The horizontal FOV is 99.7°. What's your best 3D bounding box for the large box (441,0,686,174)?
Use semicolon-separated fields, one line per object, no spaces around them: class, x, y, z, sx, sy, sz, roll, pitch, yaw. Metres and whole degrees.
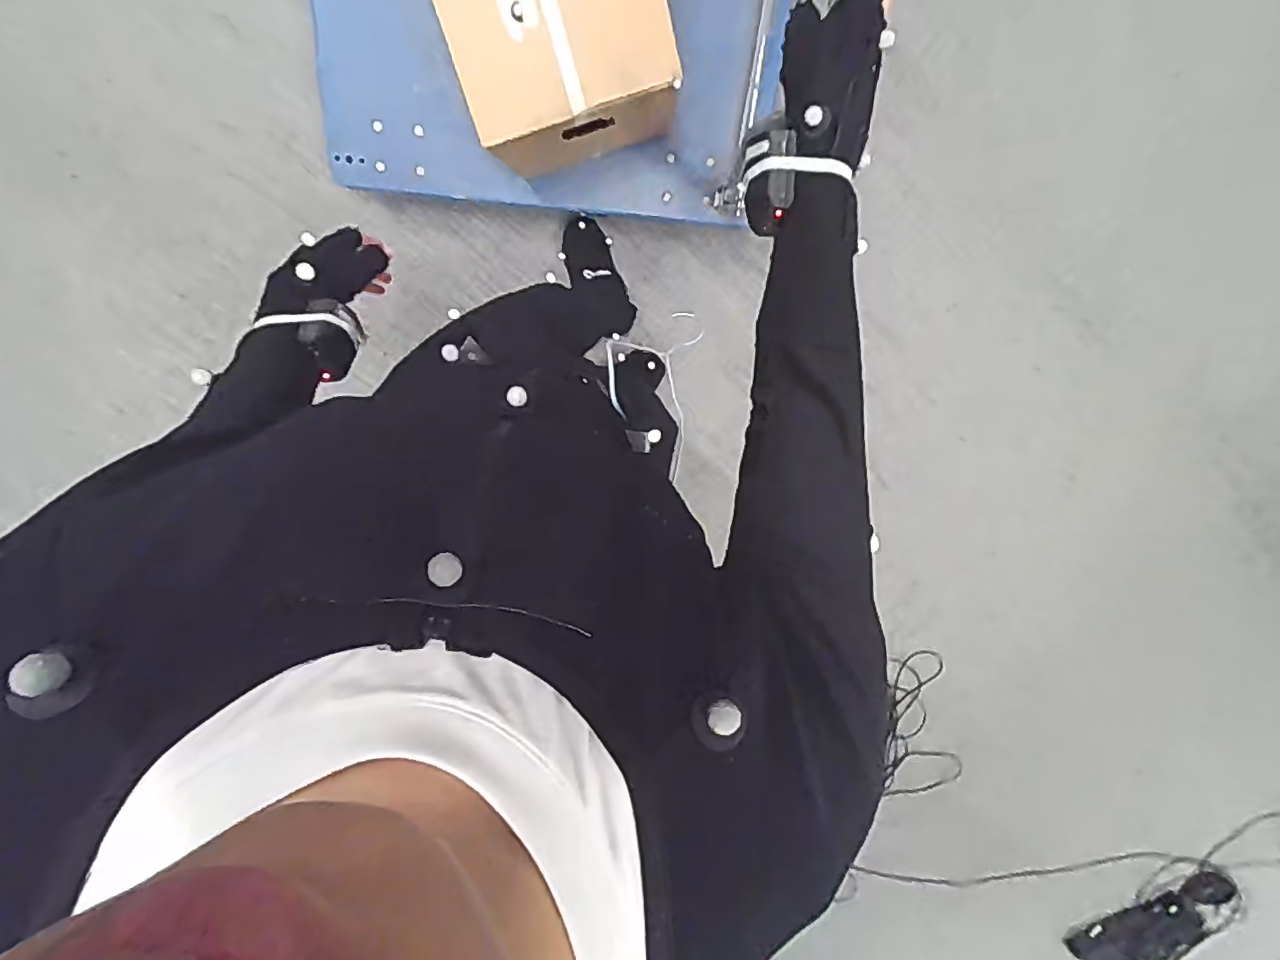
large box;-0.136;-0.777;0.869;0.320;0.320;0.408;-15;111;7
